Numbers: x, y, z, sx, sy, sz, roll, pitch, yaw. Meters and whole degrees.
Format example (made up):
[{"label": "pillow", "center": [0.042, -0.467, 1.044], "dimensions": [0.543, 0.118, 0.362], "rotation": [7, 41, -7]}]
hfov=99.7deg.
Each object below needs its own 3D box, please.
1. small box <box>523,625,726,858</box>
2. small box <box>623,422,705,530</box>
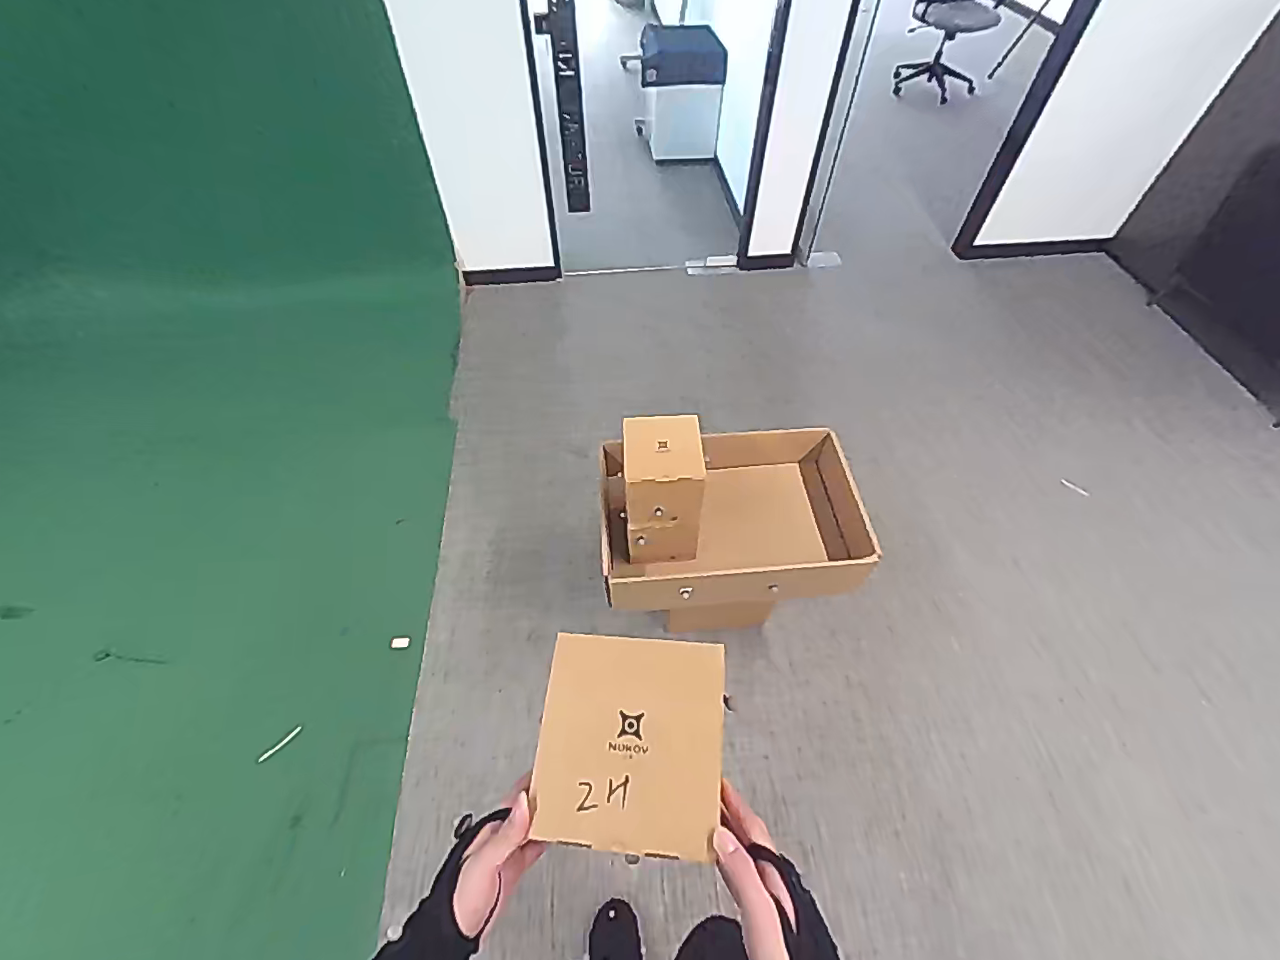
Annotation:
[{"label": "small box", "center": [-0.001, 0.265, 0.553], "dimensions": [0.168, 0.176, 0.179], "rotation": [2, 59, 9]}, {"label": "small box", "center": [0.045, -0.008, 1.190], "dimensions": [0.168, 0.176, 0.179], "rotation": [-2, 52, -2]}]
